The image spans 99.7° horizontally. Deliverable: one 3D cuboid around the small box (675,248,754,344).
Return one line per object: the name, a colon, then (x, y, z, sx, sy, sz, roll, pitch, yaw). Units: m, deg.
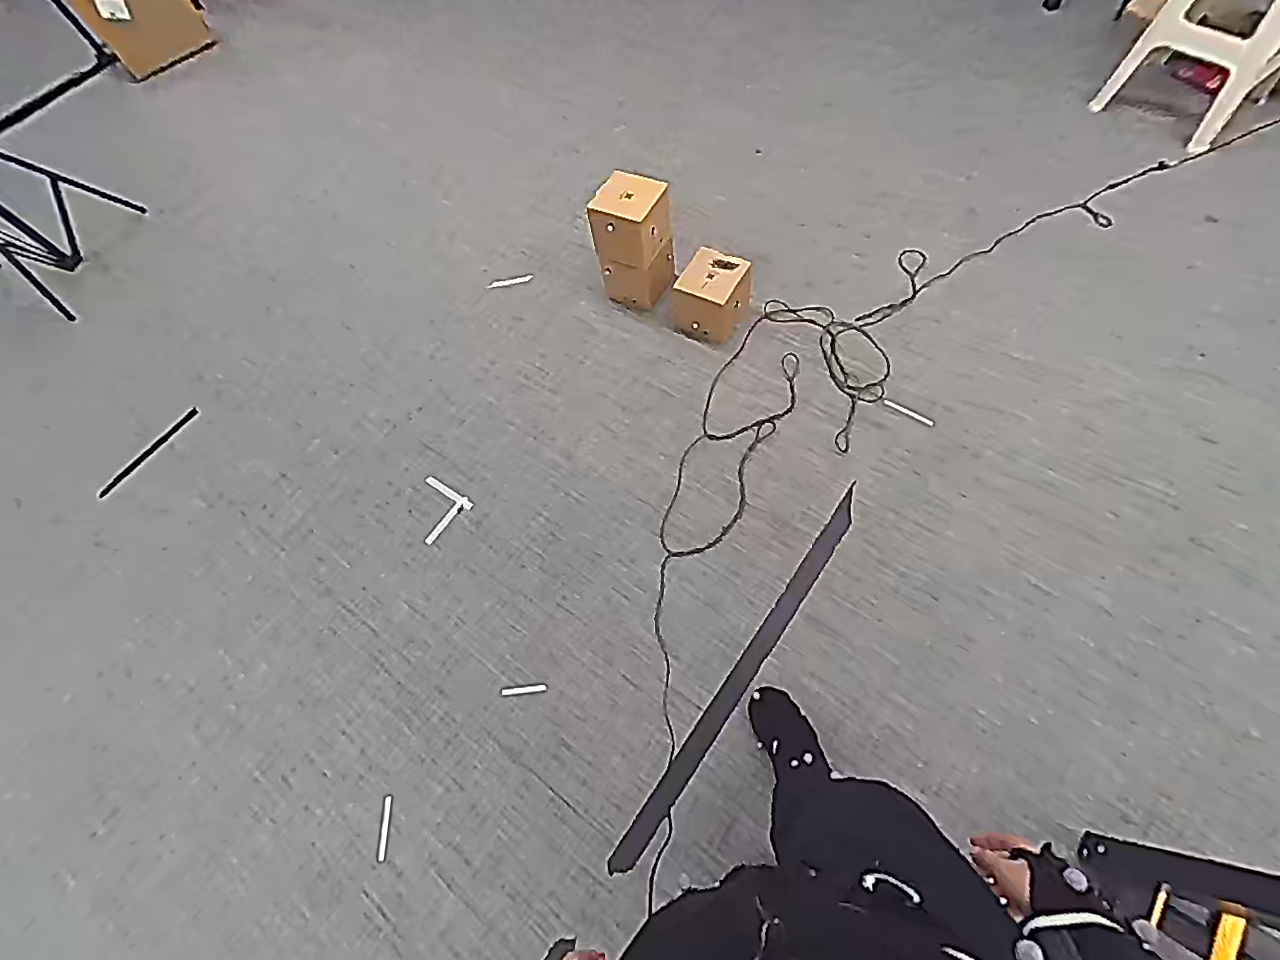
small box: (0.220, -0.542, 1.601, 0.168, 0.176, 0.179, 27, 71, 20)

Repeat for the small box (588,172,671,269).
small box: (-0.021, -0.737, 1.548, 0.179, 0.176, 0.168, 24, 69, 18)
